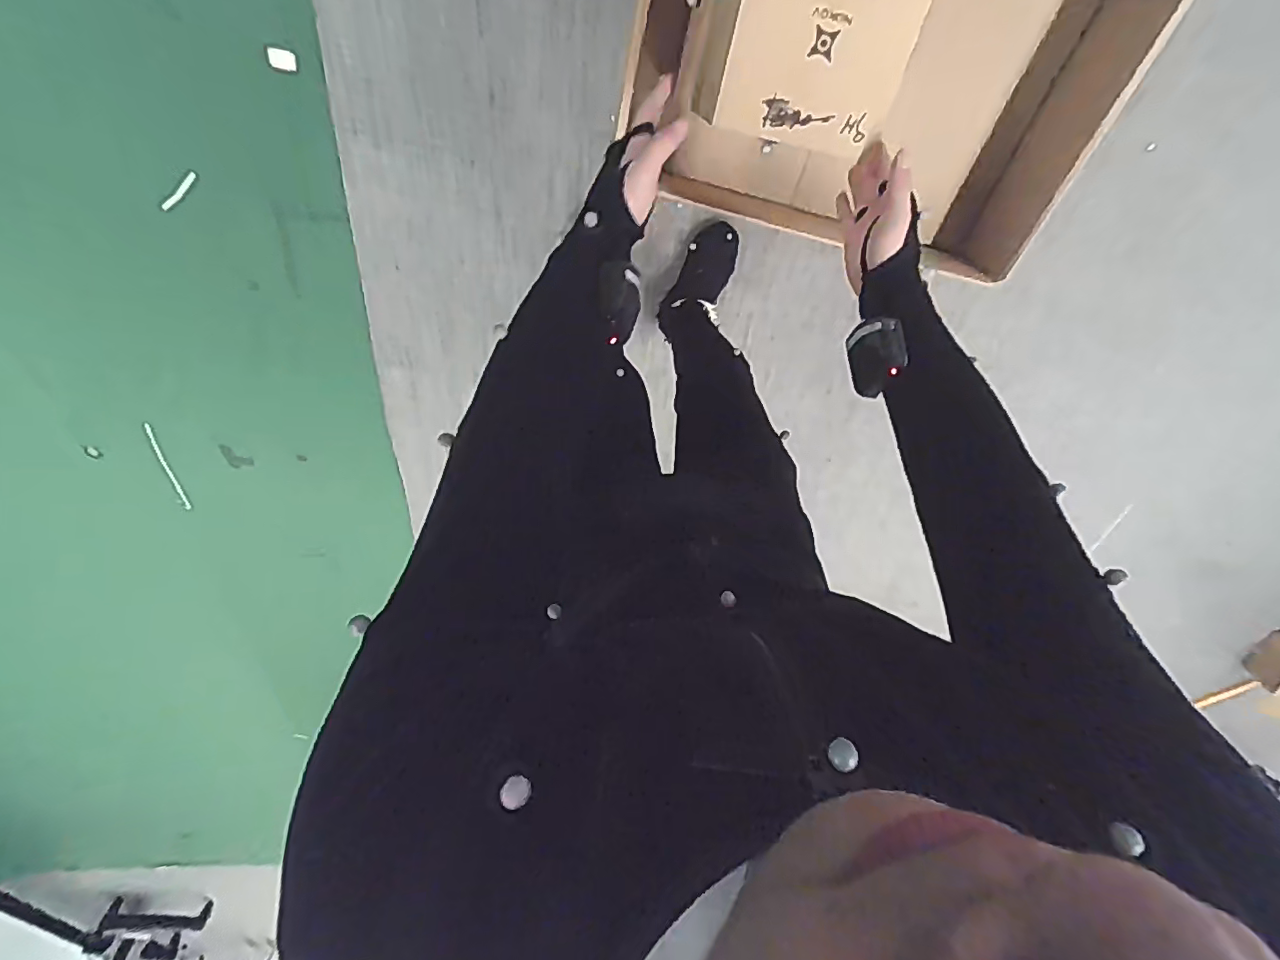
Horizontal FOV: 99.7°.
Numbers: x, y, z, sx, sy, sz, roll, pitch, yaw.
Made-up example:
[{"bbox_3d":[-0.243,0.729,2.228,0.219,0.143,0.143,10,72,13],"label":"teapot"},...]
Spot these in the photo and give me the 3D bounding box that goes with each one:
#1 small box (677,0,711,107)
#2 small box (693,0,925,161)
[{"bbox_3d":[0.145,-0.550,0.659,0.168,0.176,0.179,9,128,-10],"label":"small box"},{"bbox_3d":[0.154,-0.442,0.535,0.168,0.176,0.179,8,128,-8],"label":"small box"}]
